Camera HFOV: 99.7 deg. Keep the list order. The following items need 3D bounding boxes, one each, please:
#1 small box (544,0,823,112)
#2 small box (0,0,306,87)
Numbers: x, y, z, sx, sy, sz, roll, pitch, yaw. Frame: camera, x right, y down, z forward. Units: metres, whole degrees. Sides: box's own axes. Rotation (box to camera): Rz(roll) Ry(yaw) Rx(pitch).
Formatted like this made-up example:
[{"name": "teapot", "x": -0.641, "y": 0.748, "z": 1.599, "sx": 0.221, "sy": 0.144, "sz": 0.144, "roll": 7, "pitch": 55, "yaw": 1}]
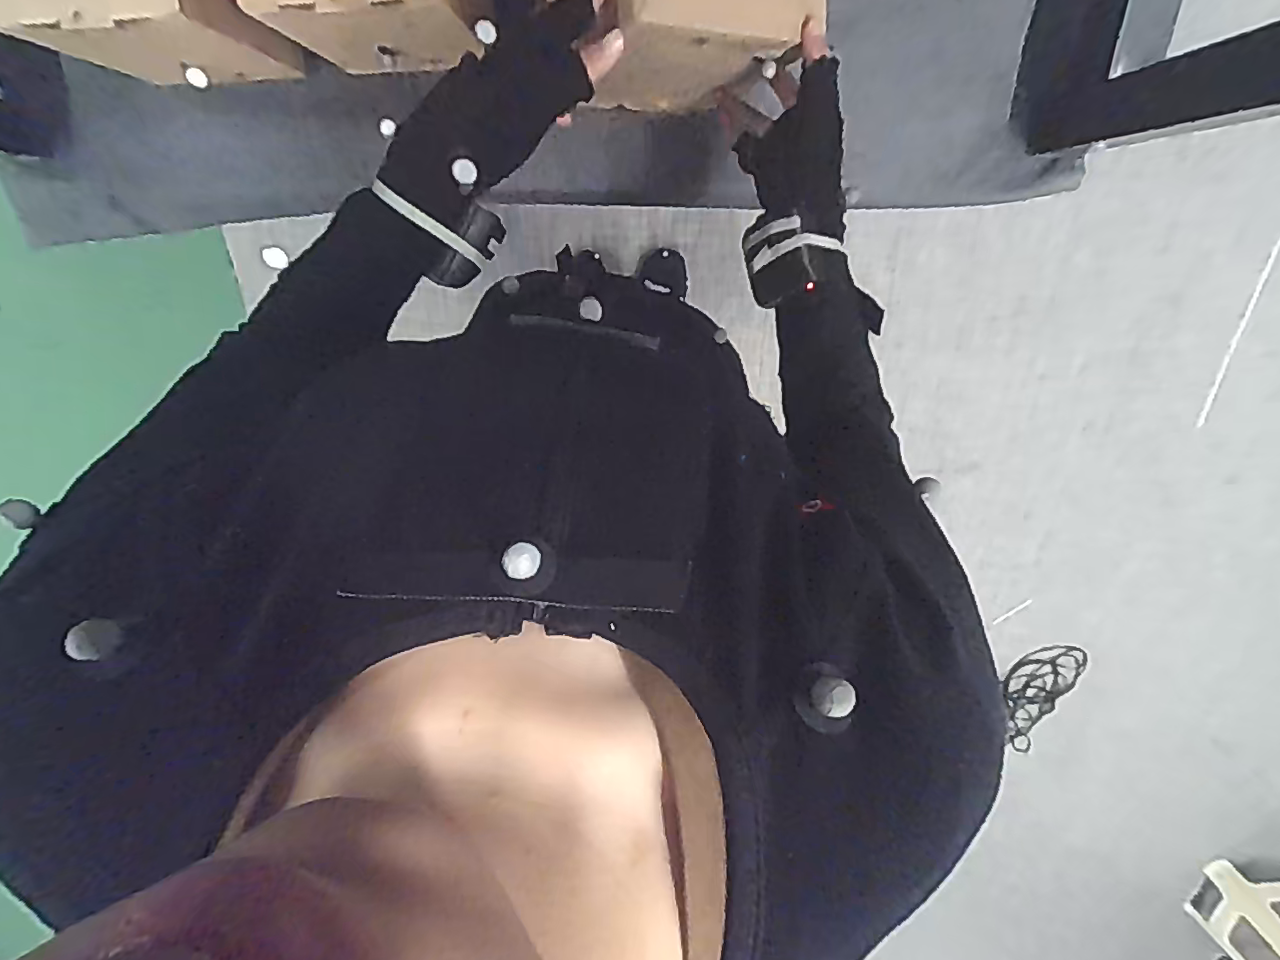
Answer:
[{"name": "small box", "x": 0.027, "y": -0.417, "z": 0.422, "sx": 0.168, "sy": 0.176, "sz": 0.179, "roll": -15, "pitch": 113, "yaw": -27}, {"name": "small box", "x": -0.434, "y": -0.471, "z": 0.469, "sx": 0.168, "sy": 0.176, "sz": 0.179, "roll": -1, "pitch": 113, "yaw": 2}]
